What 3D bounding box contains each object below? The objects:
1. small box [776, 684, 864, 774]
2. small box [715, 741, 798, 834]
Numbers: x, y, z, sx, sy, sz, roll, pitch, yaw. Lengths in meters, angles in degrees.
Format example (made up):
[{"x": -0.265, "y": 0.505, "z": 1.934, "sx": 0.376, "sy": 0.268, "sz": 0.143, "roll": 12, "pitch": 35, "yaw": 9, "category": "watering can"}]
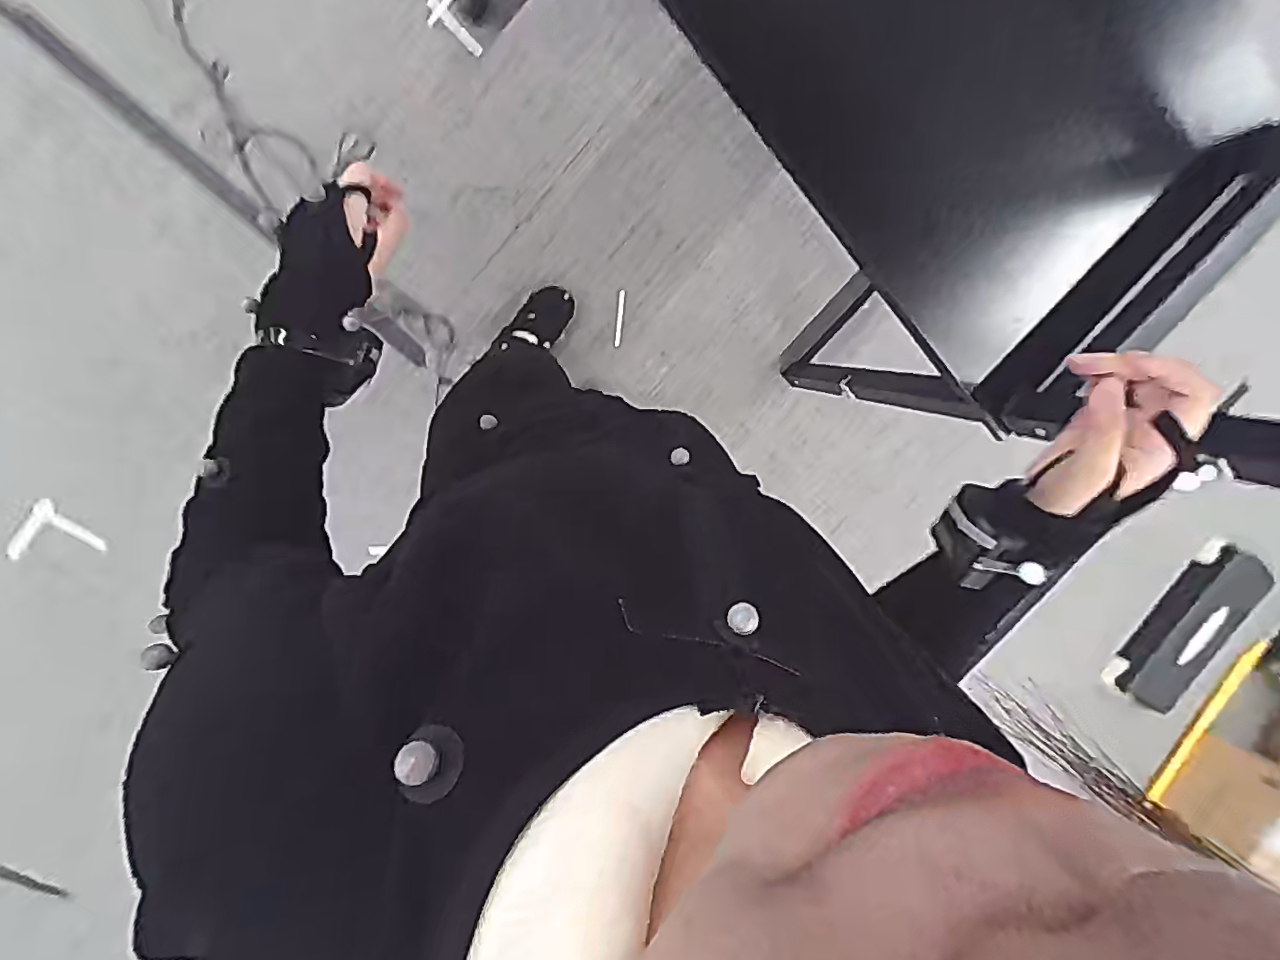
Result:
[{"x": 0.572, "y": 0.791, "z": 1.741, "sx": 0.168, "sy": 0.176, "sz": 0.179, "roll": -45, "pitch": 109, "yaw": 4, "category": "small box"}, {"x": 0.371, "y": 0.989, "z": 1.758, "sx": 0.168, "sy": 0.176, "sz": 0.179, "roll": -42, "pitch": 109, "yaw": 3, "category": "small box"}]
